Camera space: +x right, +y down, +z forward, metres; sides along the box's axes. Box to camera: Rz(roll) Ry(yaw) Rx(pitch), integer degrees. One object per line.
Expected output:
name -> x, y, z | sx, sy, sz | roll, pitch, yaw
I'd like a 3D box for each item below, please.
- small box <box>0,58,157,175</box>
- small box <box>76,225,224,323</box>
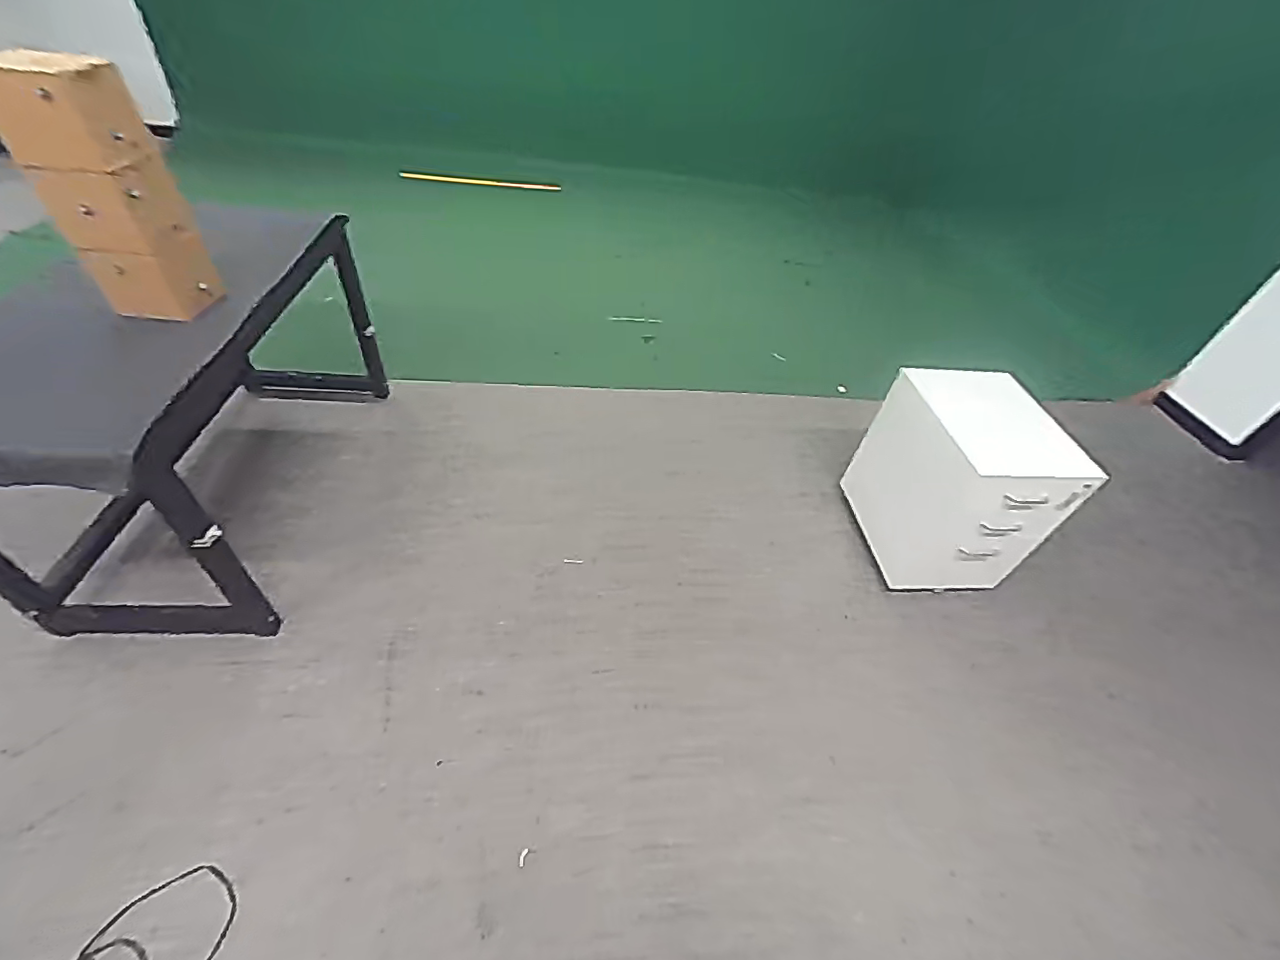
small box -> -1.152, -0.732, 1.092 | 0.179, 0.176, 0.168 | 2, 44, -6
small box -> -1.180, -0.501, 1.322 | 0.179, 0.176, 0.168 | 5, 44, -3
